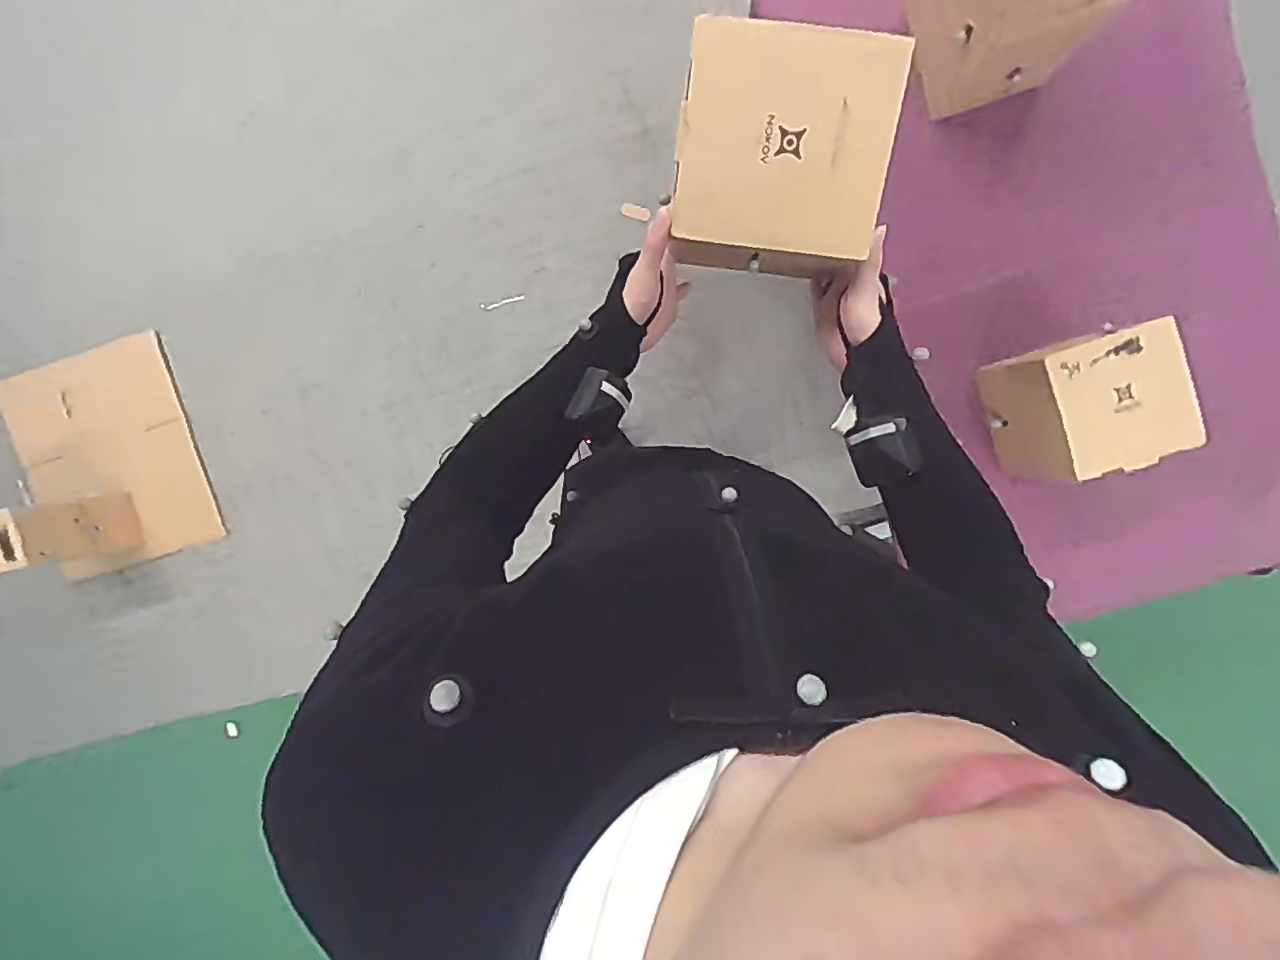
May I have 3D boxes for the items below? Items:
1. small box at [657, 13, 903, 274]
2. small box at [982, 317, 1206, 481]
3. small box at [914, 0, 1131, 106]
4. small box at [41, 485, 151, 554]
[{"bbox_3d":[0.116,-0.302,0.525,0.179,0.176,0.168,8,106,1],"label":"small box"},{"bbox_3d":[0.634,-0.112,0.777,0.168,0.176,0.179,-17,94,6],"label":"small box"},{"bbox_3d":[0.503,-0.650,0.733,0.168,0.176,0.179,-16,95,6],"label":"small box"},{"bbox_3d":[-1.707,0.121,1.710,0.168,0.176,0.179,-11,94,6],"label":"small box"}]
